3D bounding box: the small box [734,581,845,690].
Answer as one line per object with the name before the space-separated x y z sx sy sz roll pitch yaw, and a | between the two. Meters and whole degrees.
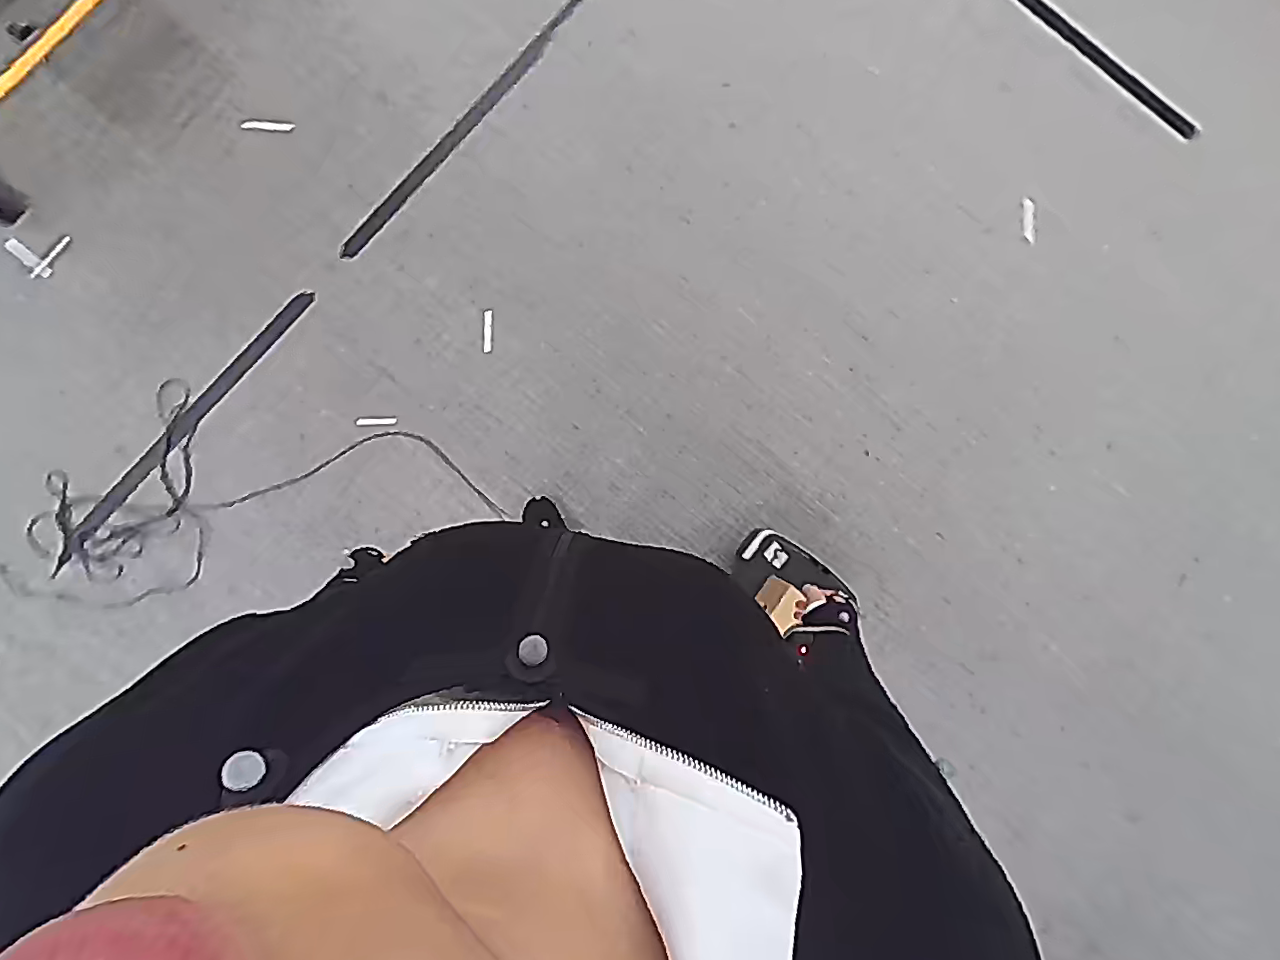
small box | 0.330 0.335 1.233 0.168 0.176 0.179 36 87 1
